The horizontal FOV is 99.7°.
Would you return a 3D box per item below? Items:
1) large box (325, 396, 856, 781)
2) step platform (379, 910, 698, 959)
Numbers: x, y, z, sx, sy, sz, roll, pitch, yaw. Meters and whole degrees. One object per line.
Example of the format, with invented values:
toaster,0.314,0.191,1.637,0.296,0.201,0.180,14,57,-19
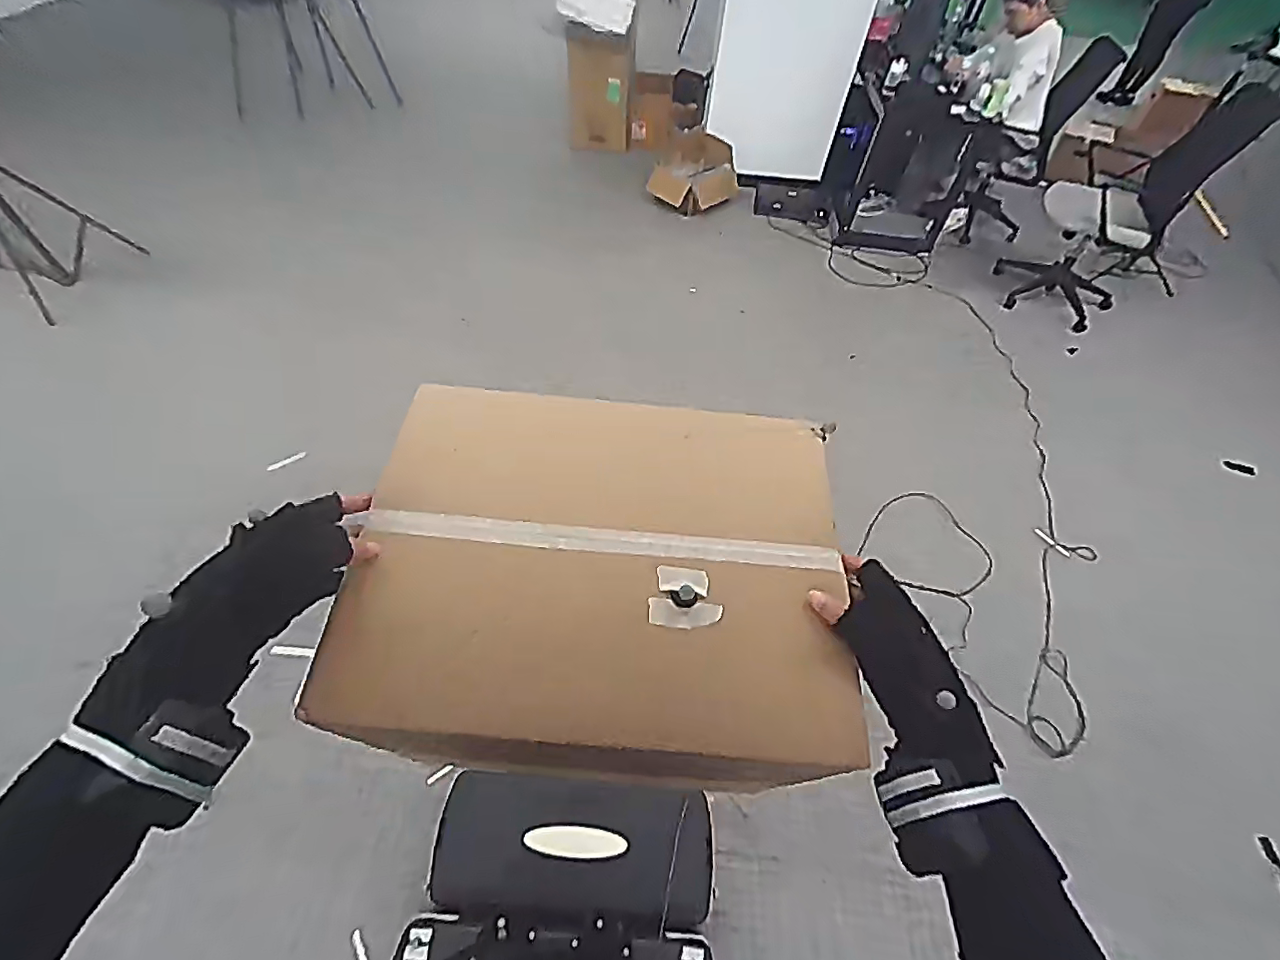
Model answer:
large box,-0.038,0.138,0.602,0.408,0.320,0.320,6,58,-2
step platform,-0.211,1.099,1.122,0.684,0.204,0.286,4,52,0
